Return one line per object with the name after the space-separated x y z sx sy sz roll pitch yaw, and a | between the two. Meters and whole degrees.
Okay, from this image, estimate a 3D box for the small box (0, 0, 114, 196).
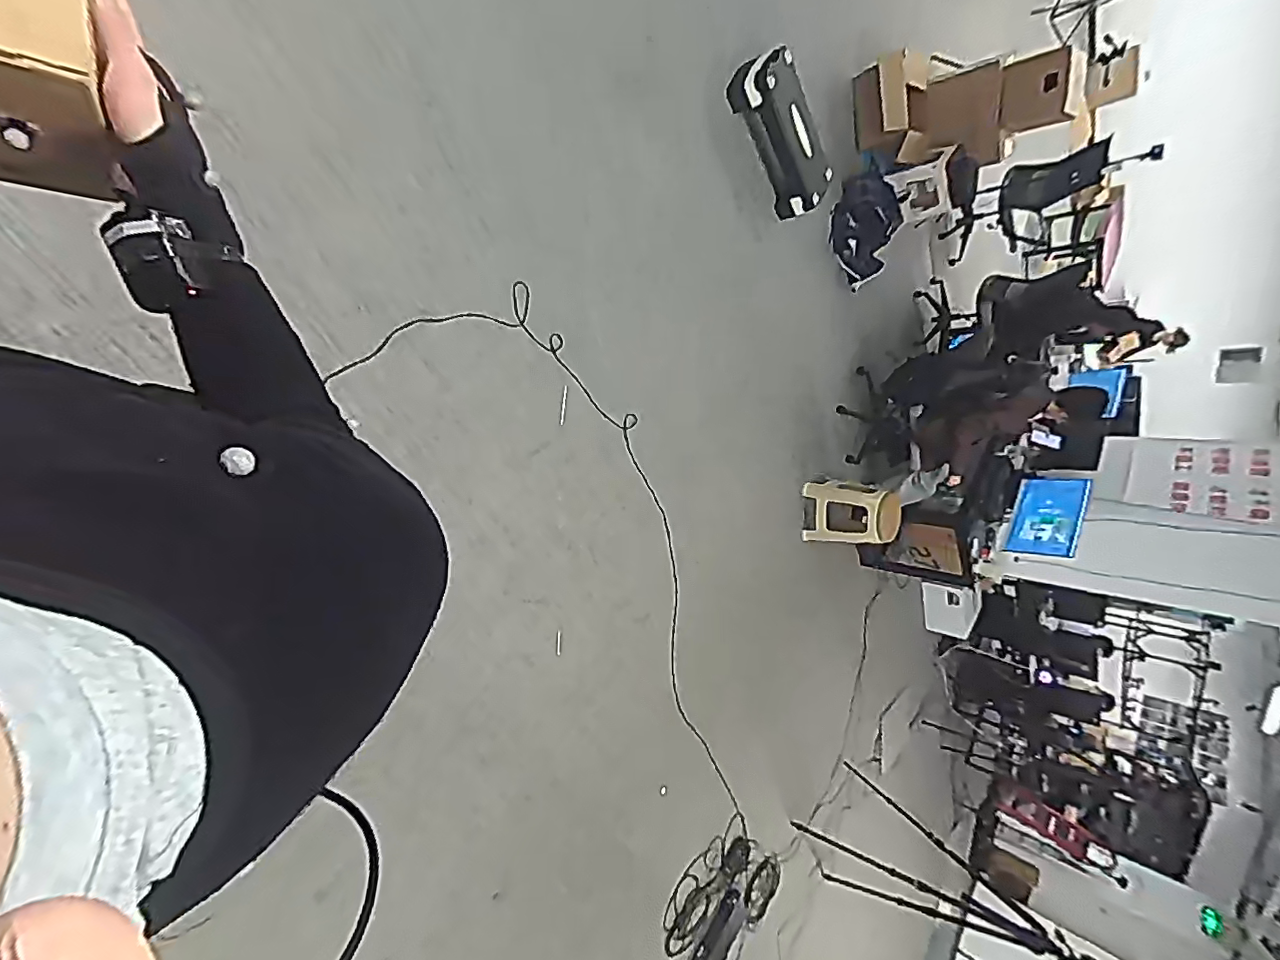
-0.468 -0.324 0.353 0.168 0.176 0.179 -4 86 -41 | small box
